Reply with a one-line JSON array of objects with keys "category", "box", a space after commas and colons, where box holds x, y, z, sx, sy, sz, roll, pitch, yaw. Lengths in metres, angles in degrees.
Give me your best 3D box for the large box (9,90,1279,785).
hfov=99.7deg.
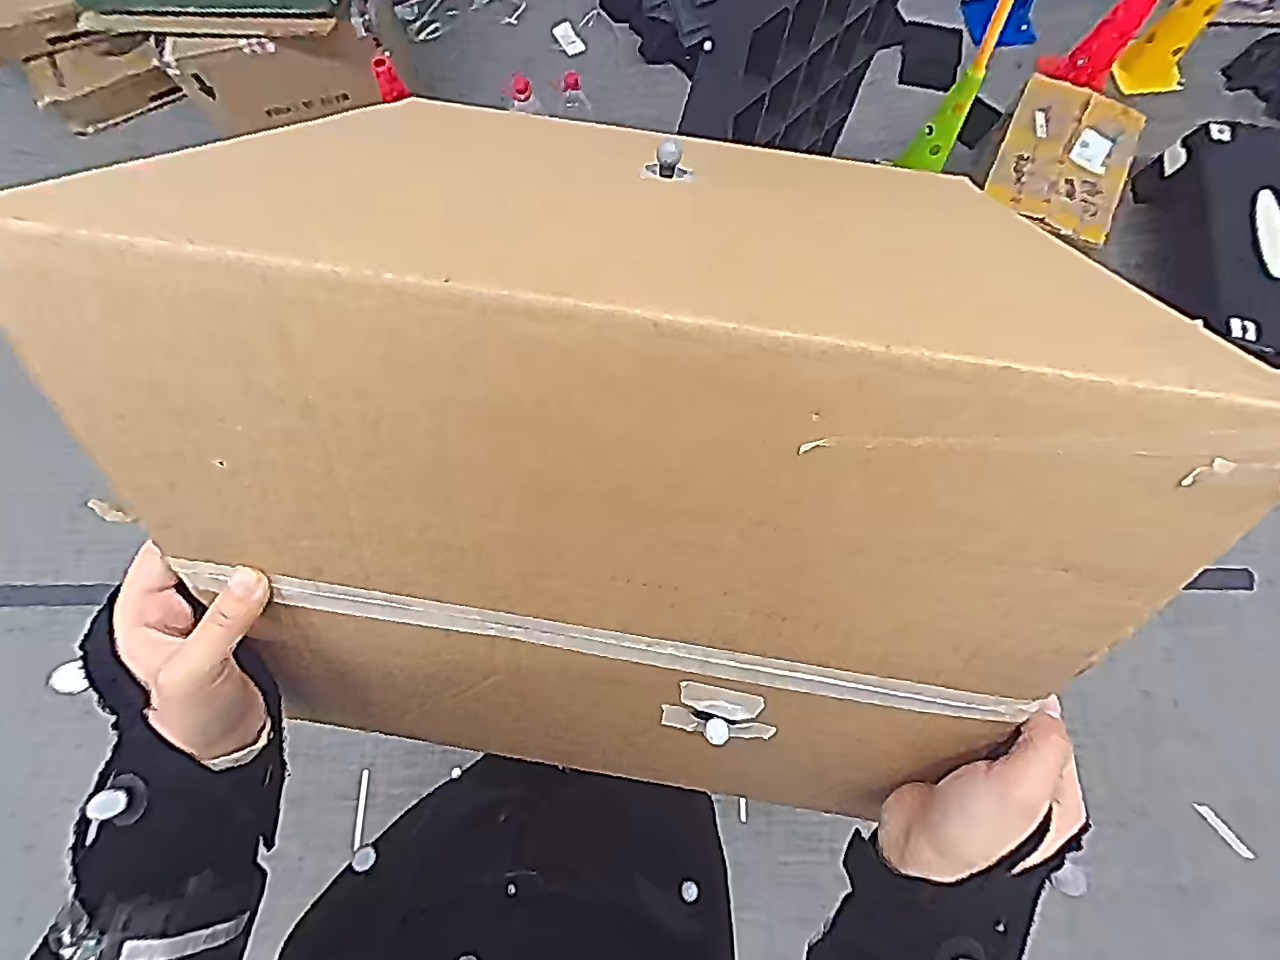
[{"category": "large box", "box": [0.008, -0.047, 0.362, 0.408, 0.320, 0.320, 8, 41, 2]}]
